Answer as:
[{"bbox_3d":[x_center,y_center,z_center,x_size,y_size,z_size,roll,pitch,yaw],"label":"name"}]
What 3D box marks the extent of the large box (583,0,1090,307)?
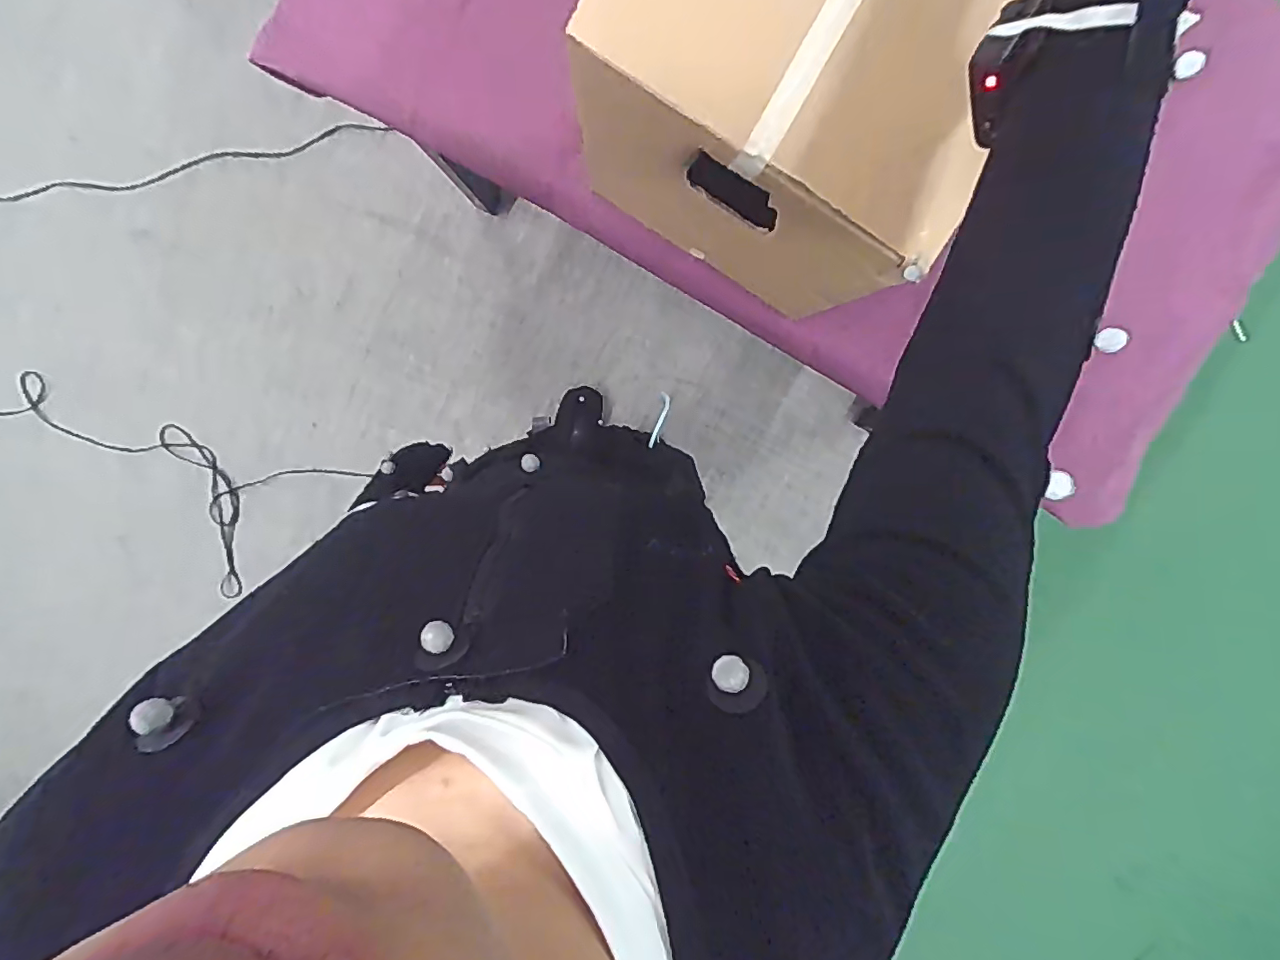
[{"bbox_3d":[0.181,-0.437,0.525,0.320,0.320,0.408,31,99,-7],"label":"large box"}]
